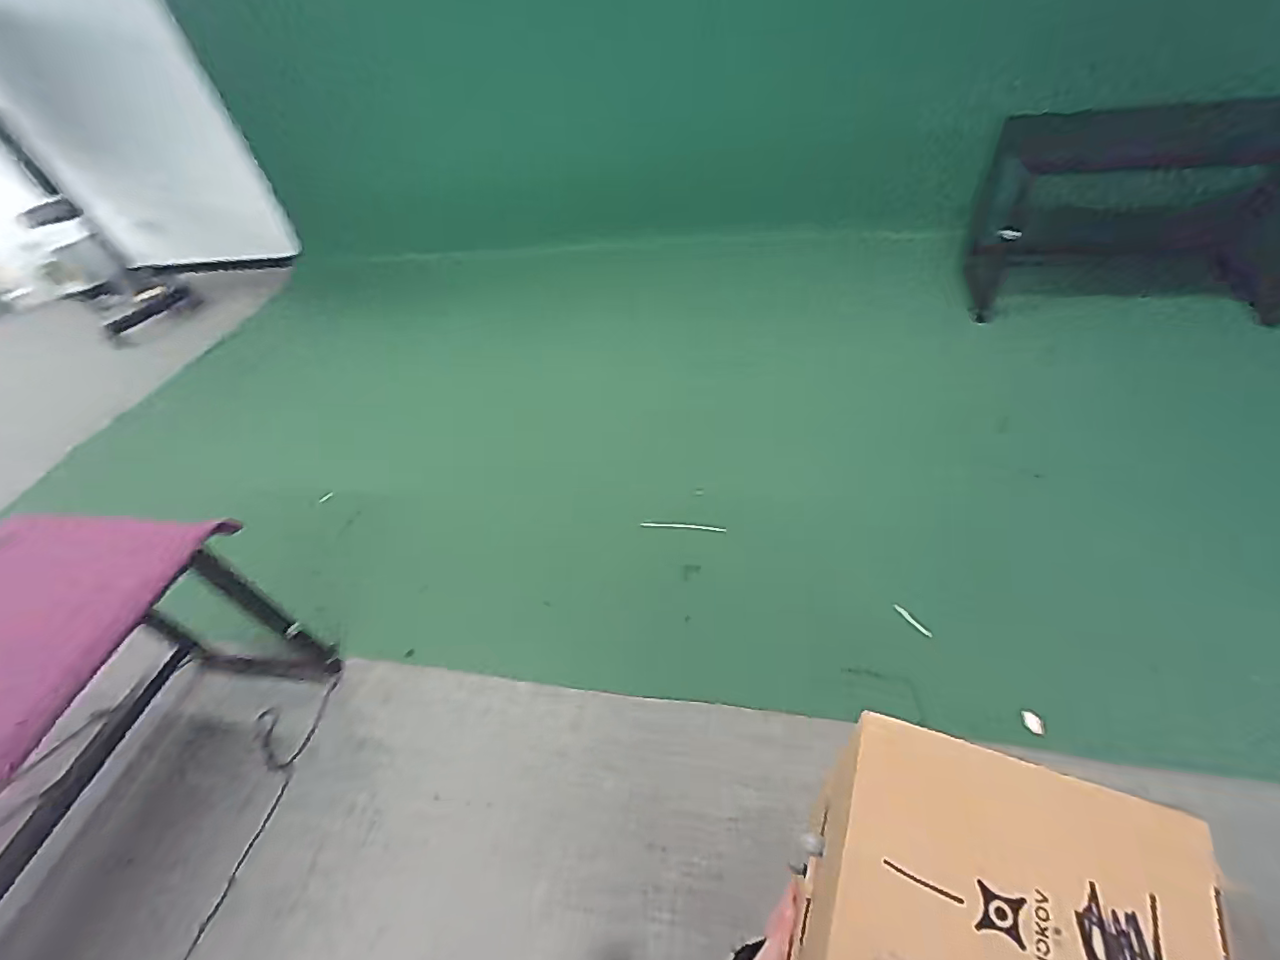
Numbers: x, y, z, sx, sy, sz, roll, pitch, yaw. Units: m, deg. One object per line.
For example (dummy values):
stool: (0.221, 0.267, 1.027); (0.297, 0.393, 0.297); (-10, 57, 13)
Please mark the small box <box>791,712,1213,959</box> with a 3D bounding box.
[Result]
small box: (0.202, 0.275, 0.342); (0.179, 0.176, 0.168); (12, 56, 20)
